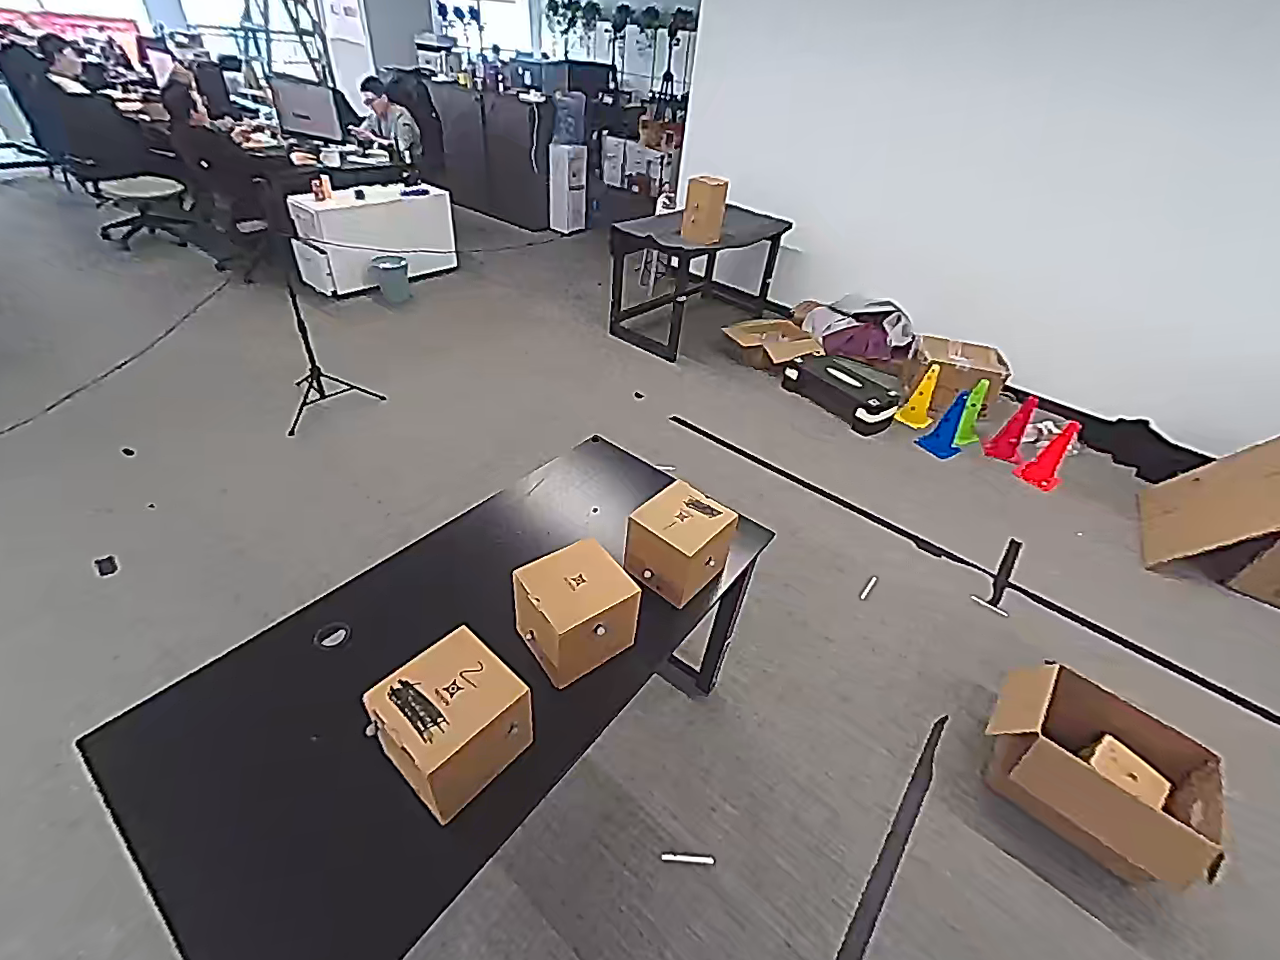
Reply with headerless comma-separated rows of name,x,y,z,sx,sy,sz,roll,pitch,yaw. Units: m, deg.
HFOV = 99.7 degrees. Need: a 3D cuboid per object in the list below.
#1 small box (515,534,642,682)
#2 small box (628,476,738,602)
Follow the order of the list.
small box,-0.119,0.239,1.019,0.179,0.176,0.168,-24,47,-31
small box,0.085,0.128,1.177,0.168,0.176,0.179,31,47,28
